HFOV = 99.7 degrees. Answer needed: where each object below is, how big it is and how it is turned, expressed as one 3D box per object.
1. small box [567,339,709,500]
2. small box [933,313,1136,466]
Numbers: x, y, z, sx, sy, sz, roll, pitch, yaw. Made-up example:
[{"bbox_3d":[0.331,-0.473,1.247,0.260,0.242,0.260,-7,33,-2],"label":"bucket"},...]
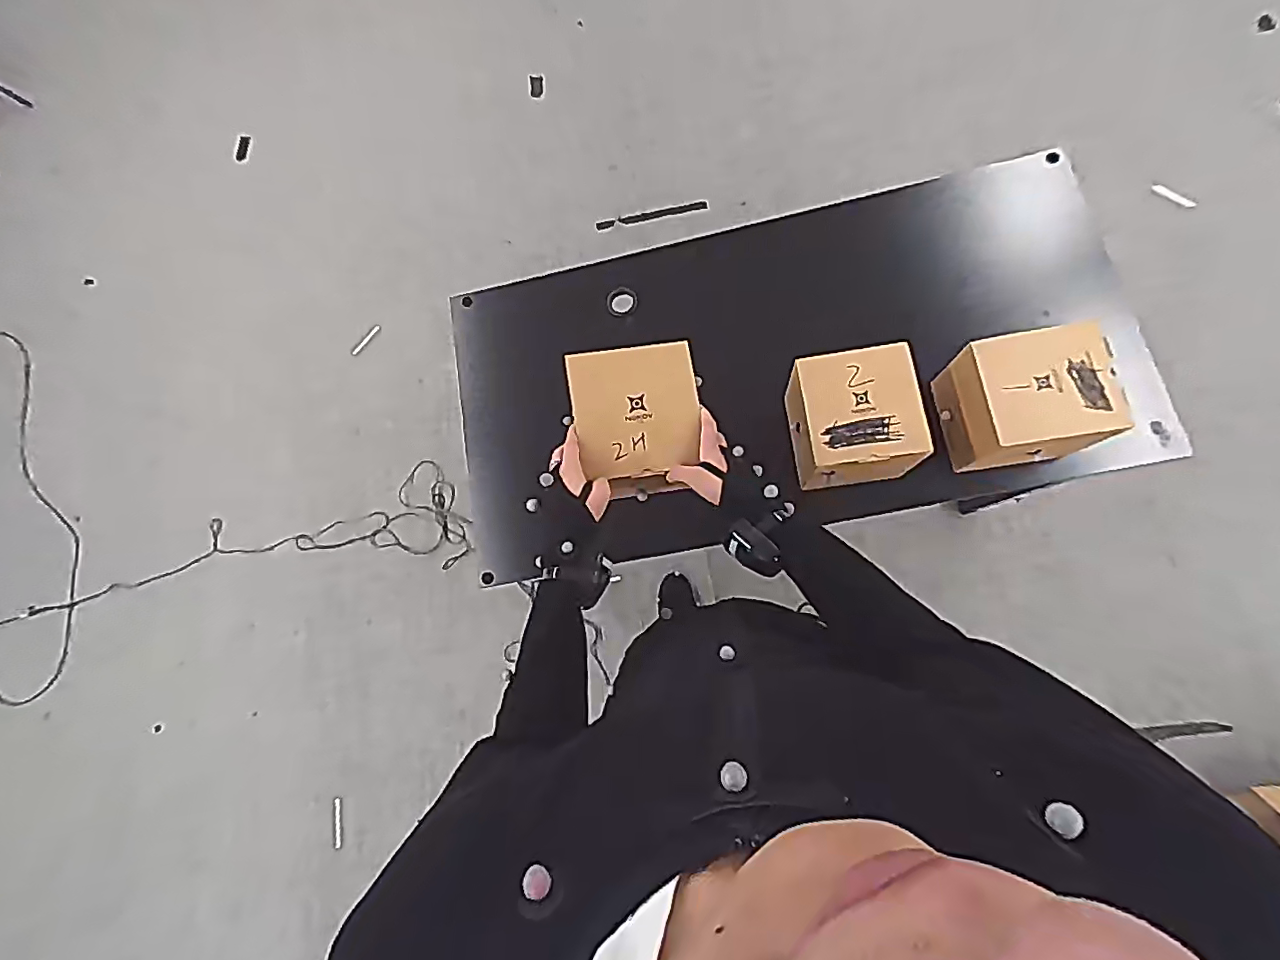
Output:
[{"bbox_3d":[-0.010,-0.077,0.771,0.168,0.176,0.179,-9,81,-5],"label":"small box"},{"bbox_3d":[0.585,-0.128,0.830,0.179,0.176,0.168,-10,77,8],"label":"small box"}]
